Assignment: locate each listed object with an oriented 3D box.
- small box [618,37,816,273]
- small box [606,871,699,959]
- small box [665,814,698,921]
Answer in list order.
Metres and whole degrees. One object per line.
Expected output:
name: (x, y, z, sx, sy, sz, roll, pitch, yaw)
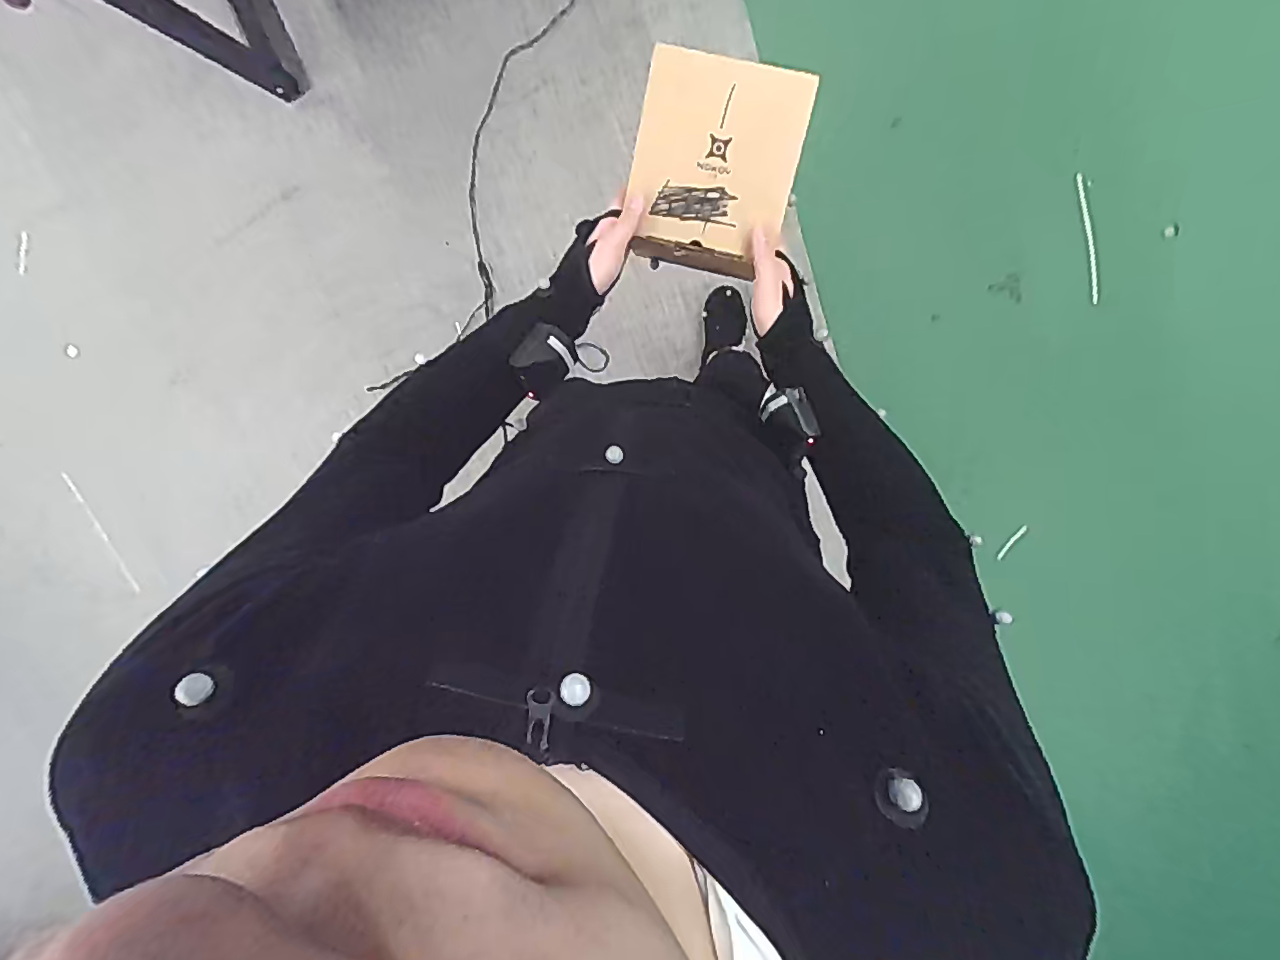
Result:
small box: (0.080, -0.348, 0.619, 0.168, 0.176, 0.179, 13, 104, 1)
small box: (0.037, 1.053, 1.248, 0.168, 0.176, 0.179, -15, 101, 10)
small box: (0.054, 1.015, 1.405, 0.168, 0.176, 0.179, -15, 102, 9)
